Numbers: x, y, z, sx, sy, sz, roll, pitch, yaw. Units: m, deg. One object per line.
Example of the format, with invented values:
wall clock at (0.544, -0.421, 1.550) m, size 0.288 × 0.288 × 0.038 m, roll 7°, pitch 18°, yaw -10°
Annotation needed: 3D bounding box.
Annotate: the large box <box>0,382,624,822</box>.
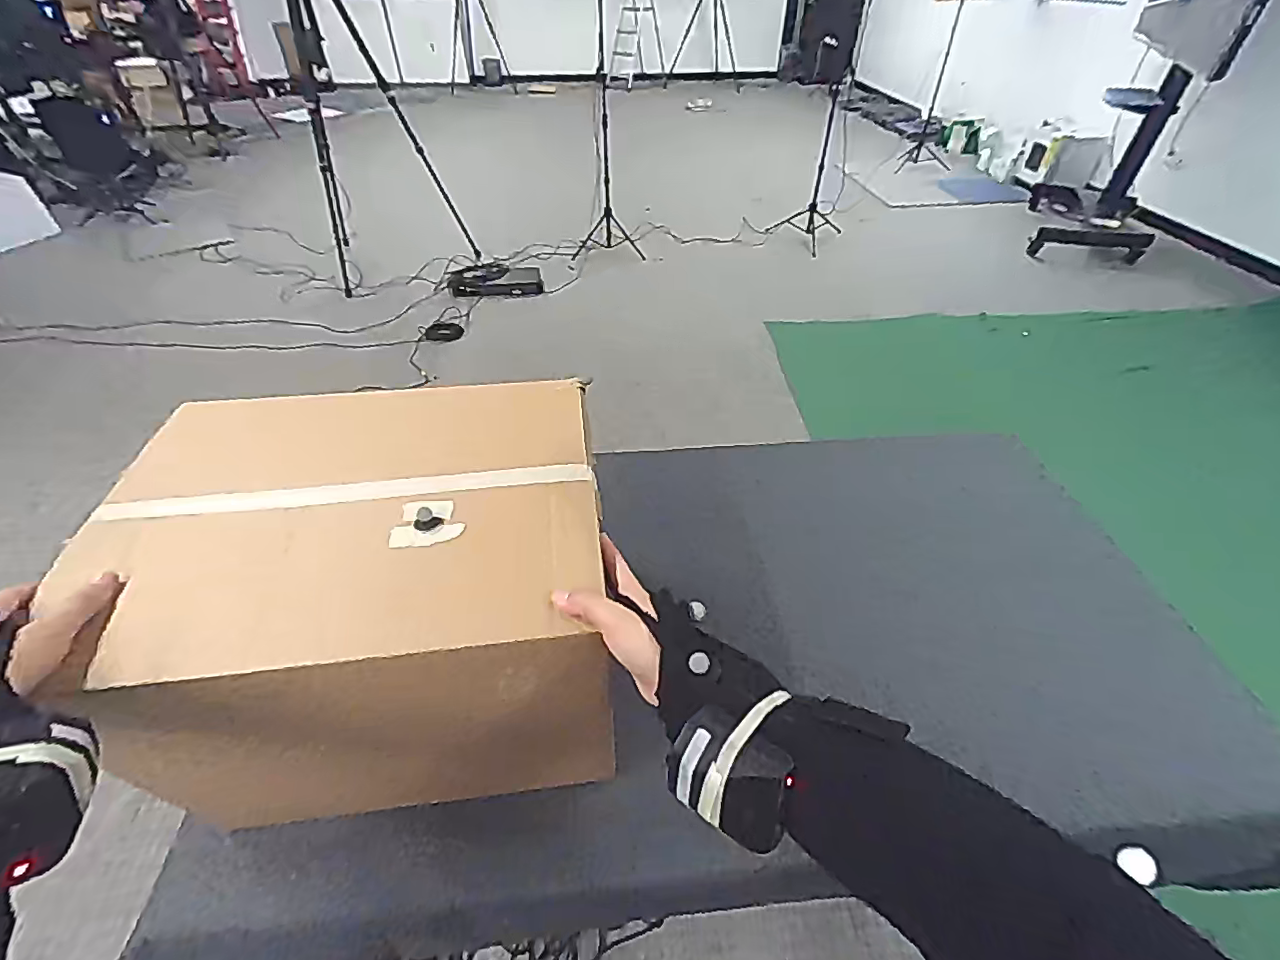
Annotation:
large box at (-0.236, 0.118, 0.571) m, size 0.408 × 0.320 × 0.320 m, roll -4°, pitch 45°, yaw -7°
